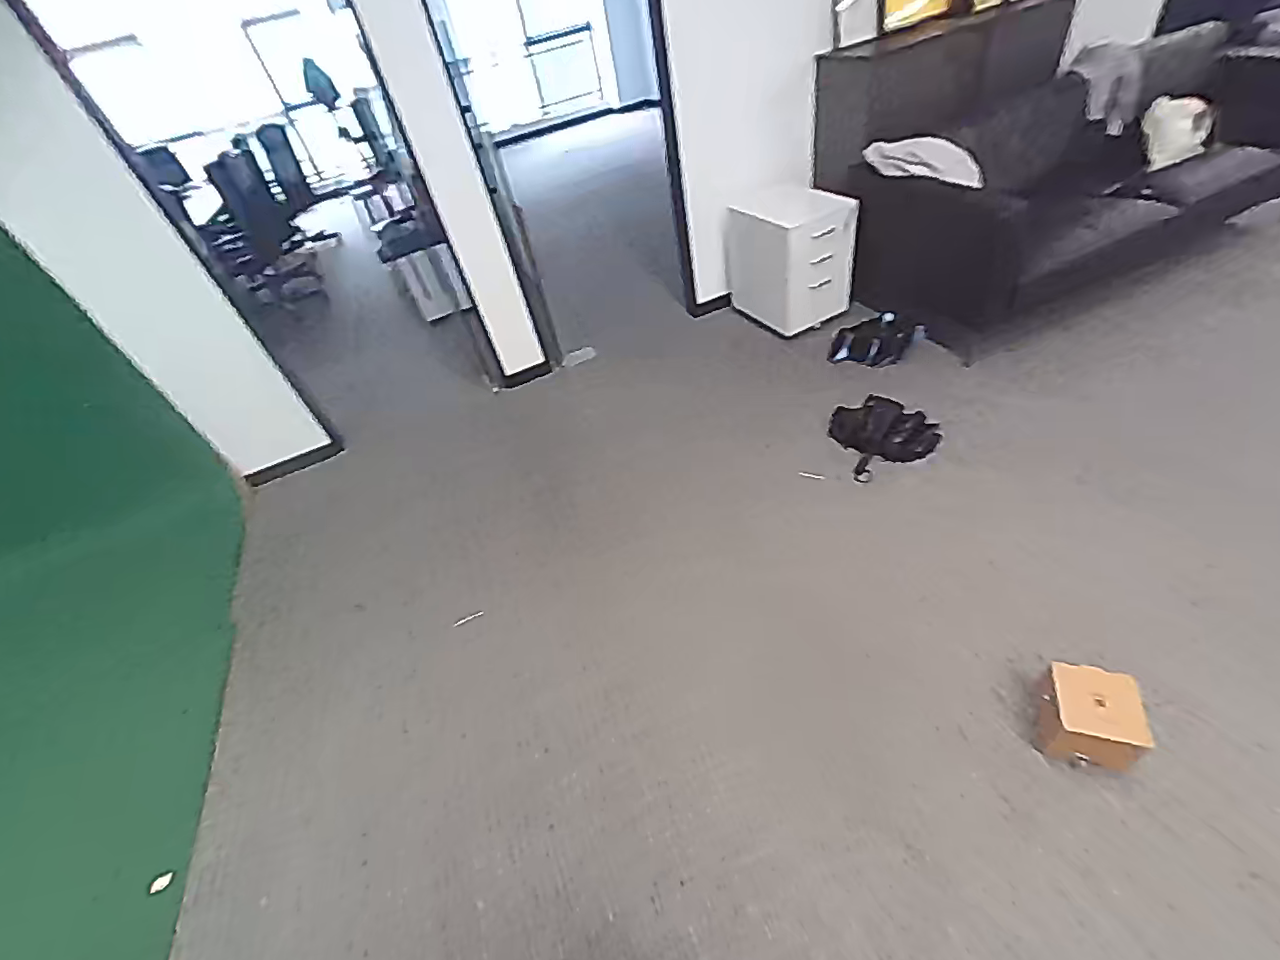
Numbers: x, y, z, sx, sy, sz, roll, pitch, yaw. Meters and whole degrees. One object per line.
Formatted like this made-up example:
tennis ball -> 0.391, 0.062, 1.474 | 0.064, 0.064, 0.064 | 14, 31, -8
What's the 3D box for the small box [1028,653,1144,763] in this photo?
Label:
small box -> 1.077, 0.557, 1.324 | 0.168, 0.176, 0.179 | 5, 47, 21
